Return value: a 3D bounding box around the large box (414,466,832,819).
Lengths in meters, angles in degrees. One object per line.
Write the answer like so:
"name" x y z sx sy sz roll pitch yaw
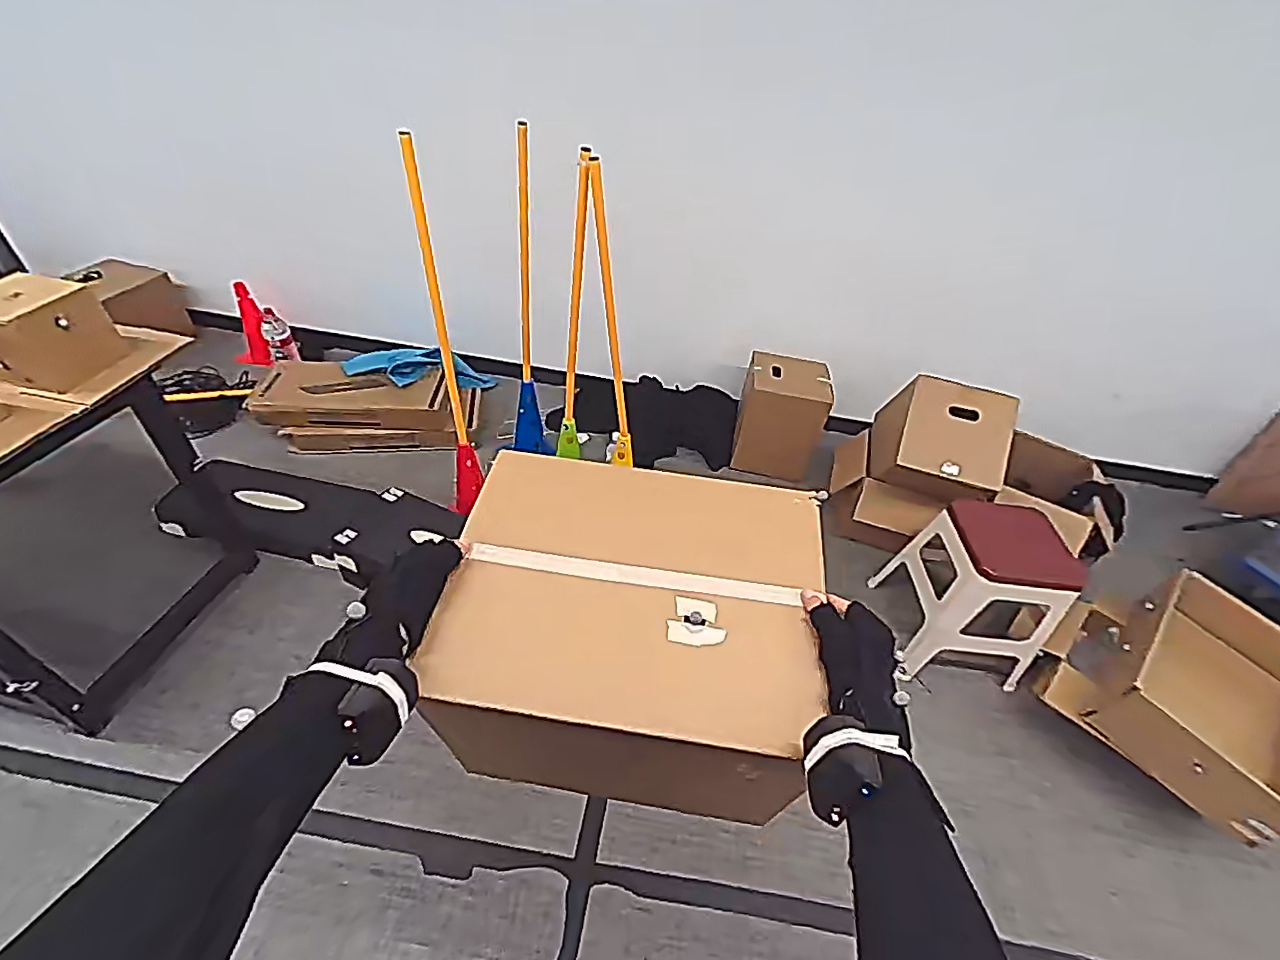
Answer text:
"large box" -0.011 0.215 0.710 0.408 0.320 0.320 8 50 3
